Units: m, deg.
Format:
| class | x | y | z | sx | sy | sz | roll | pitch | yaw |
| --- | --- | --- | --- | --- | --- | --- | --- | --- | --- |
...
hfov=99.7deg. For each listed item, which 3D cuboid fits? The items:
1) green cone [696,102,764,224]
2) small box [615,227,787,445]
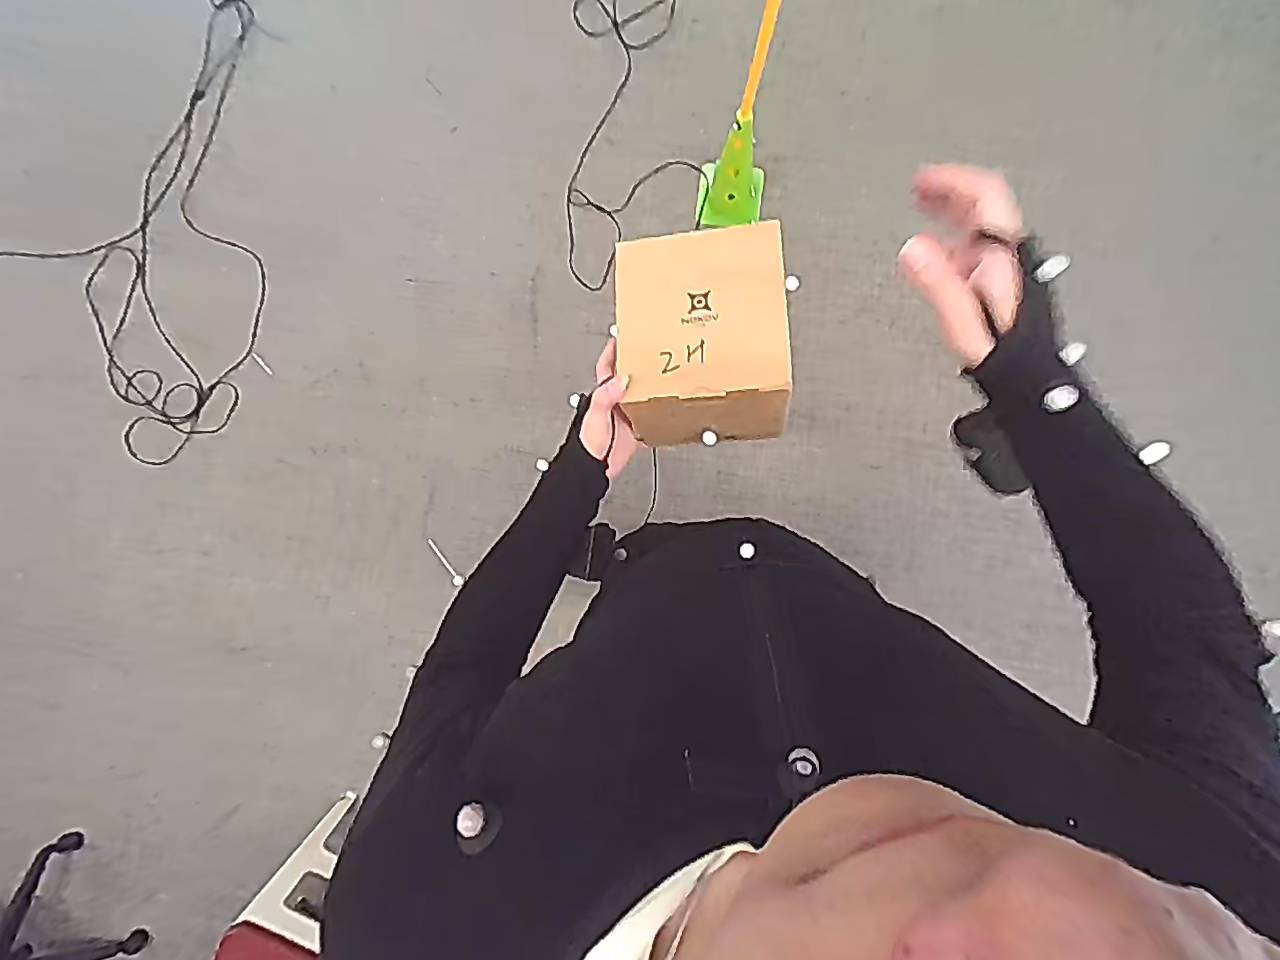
| class | x | y | z | sx | sy | sz | roll | pitch | yaw |
| --- | --- | --- | --- | --- | --- | --- | --- | --- | --- |
| green cone | 0.274 | -0.926 | 1.543 | 0.202 | 0.368 | 0.200 | 7 | 86 | 5 |
| small box | 0.071 | -0.147 | 0.607 | 0.168 | 0.176 | 0.179 | -2 | 78 | 11 |
